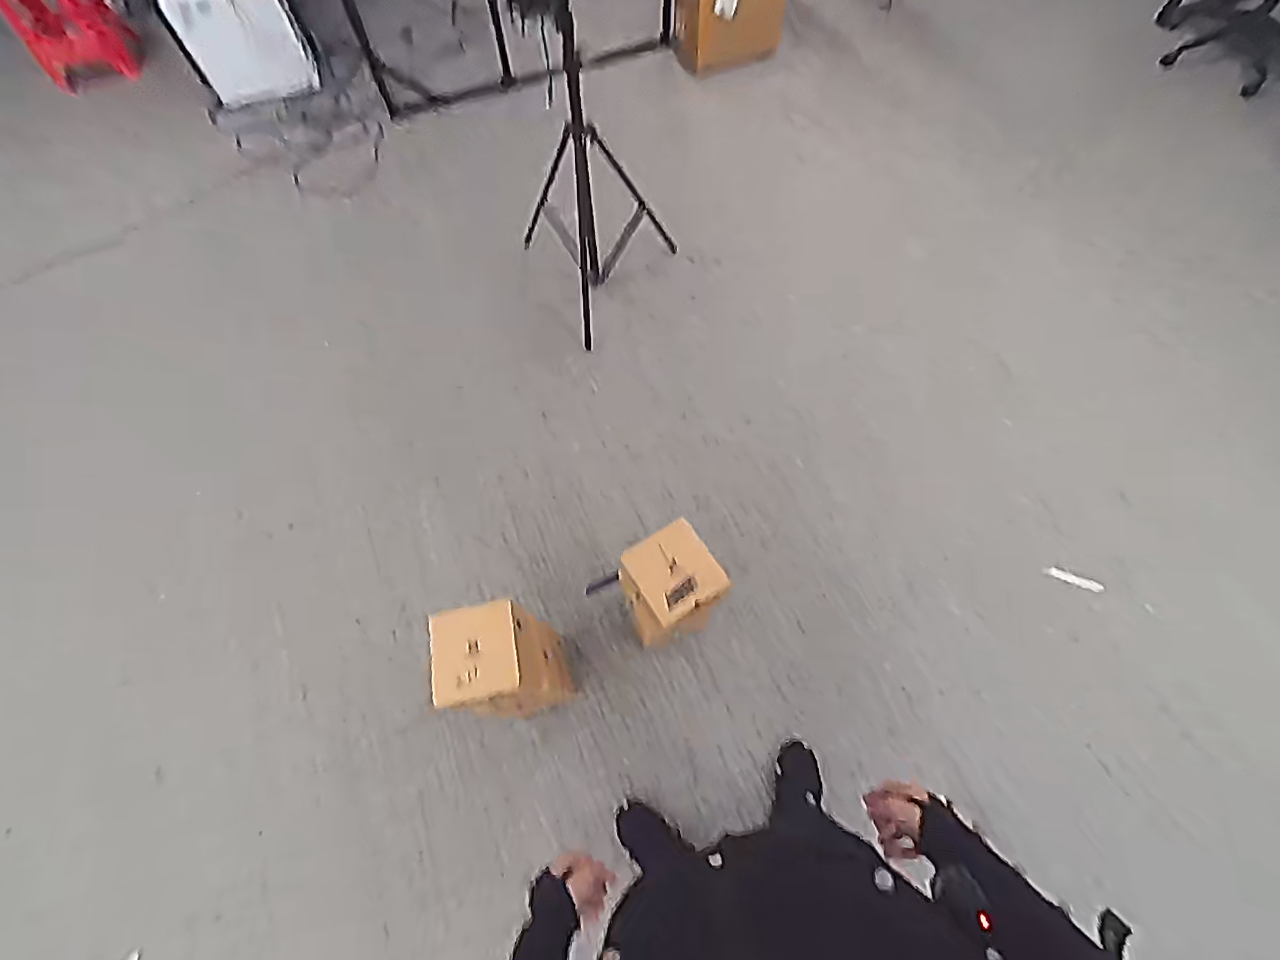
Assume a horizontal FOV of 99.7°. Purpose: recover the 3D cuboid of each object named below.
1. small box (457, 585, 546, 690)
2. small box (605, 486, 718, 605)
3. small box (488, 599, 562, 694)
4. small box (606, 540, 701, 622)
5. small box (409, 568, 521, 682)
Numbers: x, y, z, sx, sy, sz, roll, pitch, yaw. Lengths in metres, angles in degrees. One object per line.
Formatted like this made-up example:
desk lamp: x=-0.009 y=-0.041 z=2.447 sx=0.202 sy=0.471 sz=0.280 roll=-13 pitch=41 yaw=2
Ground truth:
small box: x=-0.322 y=0.362 z=1.226 sx=0.168 sy=0.176 sz=0.179 roll=-17 pitch=67 yaw=-6
small box: x=0.042 y=0.147 z=1.136 sx=0.168 sy=0.176 sz=0.179 roll=-30 pitch=69 yaw=-13
small box: x=-0.308 y=0.428 z=1.374 sx=0.168 sy=0.176 sz=0.179 roll=-20 pitch=67 yaw=-7
small box: x=0.029 y=0.214 z=1.287 sx=0.168 sy=0.176 sz=0.179 roll=-23 pitch=67 yaw=-10
small box: x=-0.344 y=0.293 z=1.078 sx=0.168 sy=0.176 sz=0.179 roll=-12 pitch=67 yaw=-3
